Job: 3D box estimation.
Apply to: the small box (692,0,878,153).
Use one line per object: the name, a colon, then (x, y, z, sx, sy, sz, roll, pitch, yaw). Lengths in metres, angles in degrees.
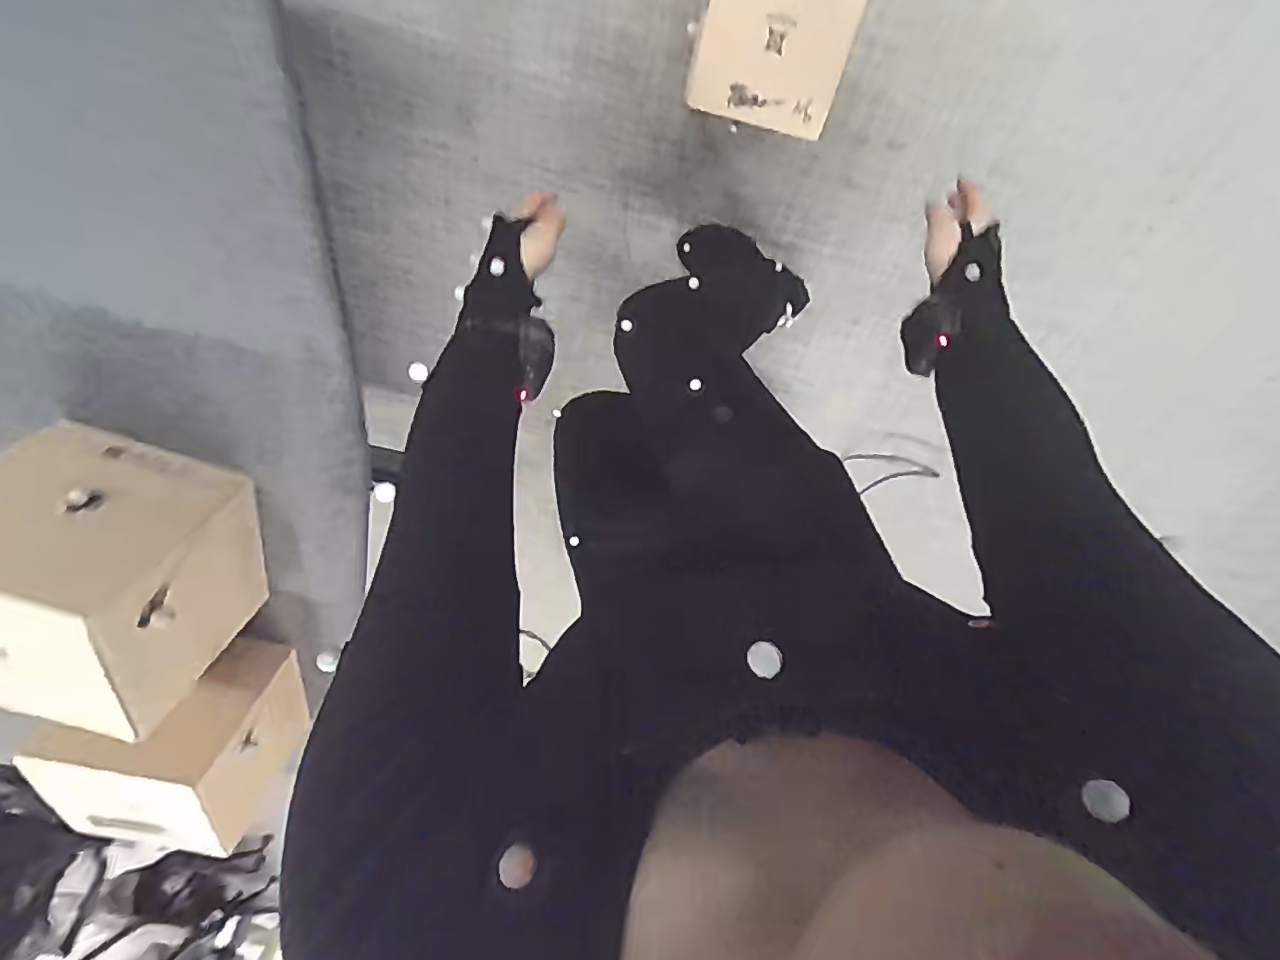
small box: (0.164, -0.529, 0.665, 0.168, 0.176, 0.179, 14, 125, -5)

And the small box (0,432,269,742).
small box: (-0.457, 0.085, 0.465, 0.168, 0.176, 0.179, 19, 125, -5)
